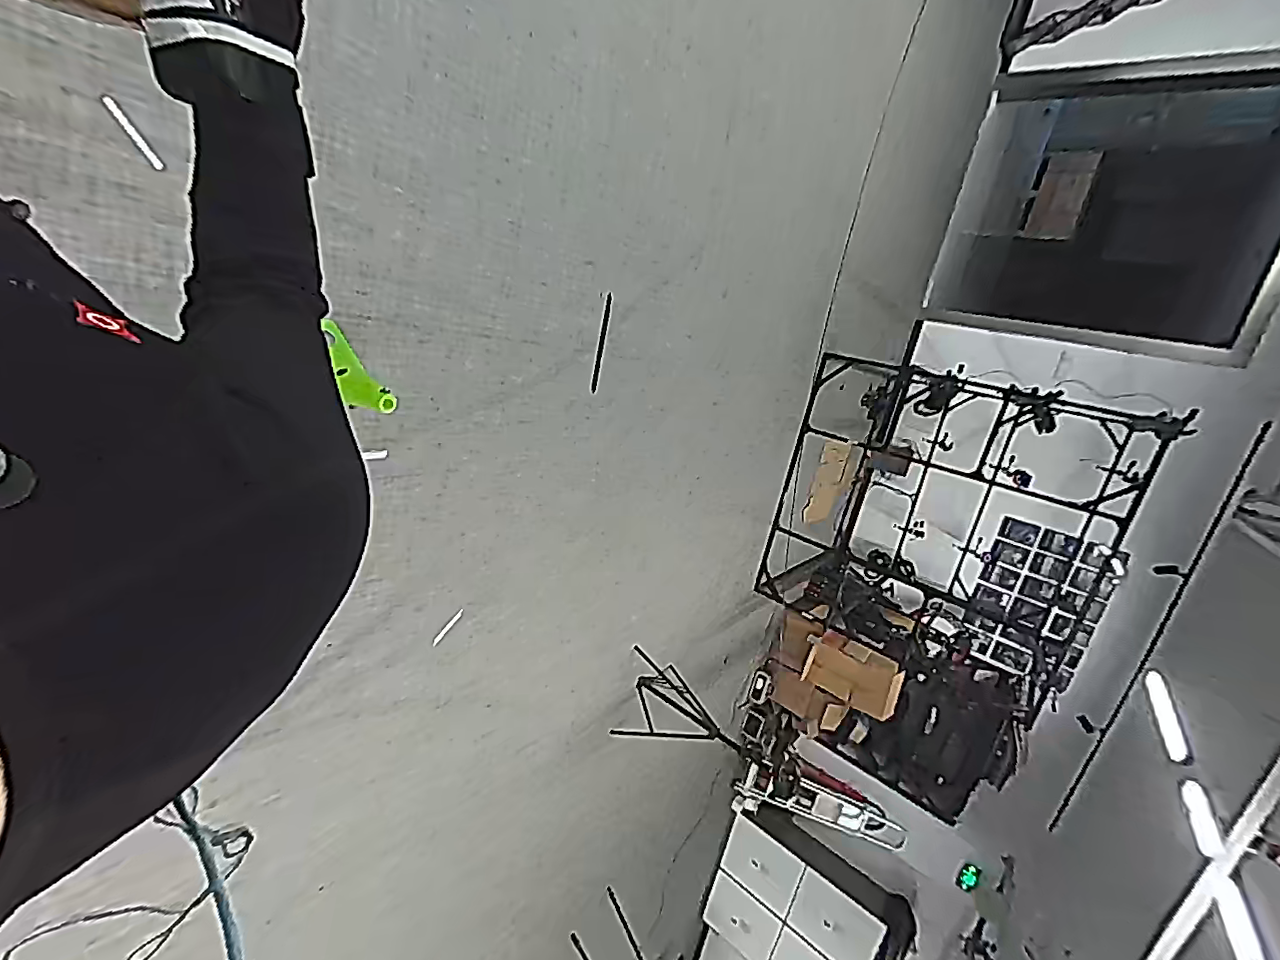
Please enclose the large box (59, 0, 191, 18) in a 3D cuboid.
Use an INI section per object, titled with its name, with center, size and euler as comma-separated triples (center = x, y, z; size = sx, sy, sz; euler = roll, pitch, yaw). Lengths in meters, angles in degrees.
[large box]
center = -0.493, -0.473, 0.225
size = 0.408, 0.320, 0.320
euler = -13, 129, -49
